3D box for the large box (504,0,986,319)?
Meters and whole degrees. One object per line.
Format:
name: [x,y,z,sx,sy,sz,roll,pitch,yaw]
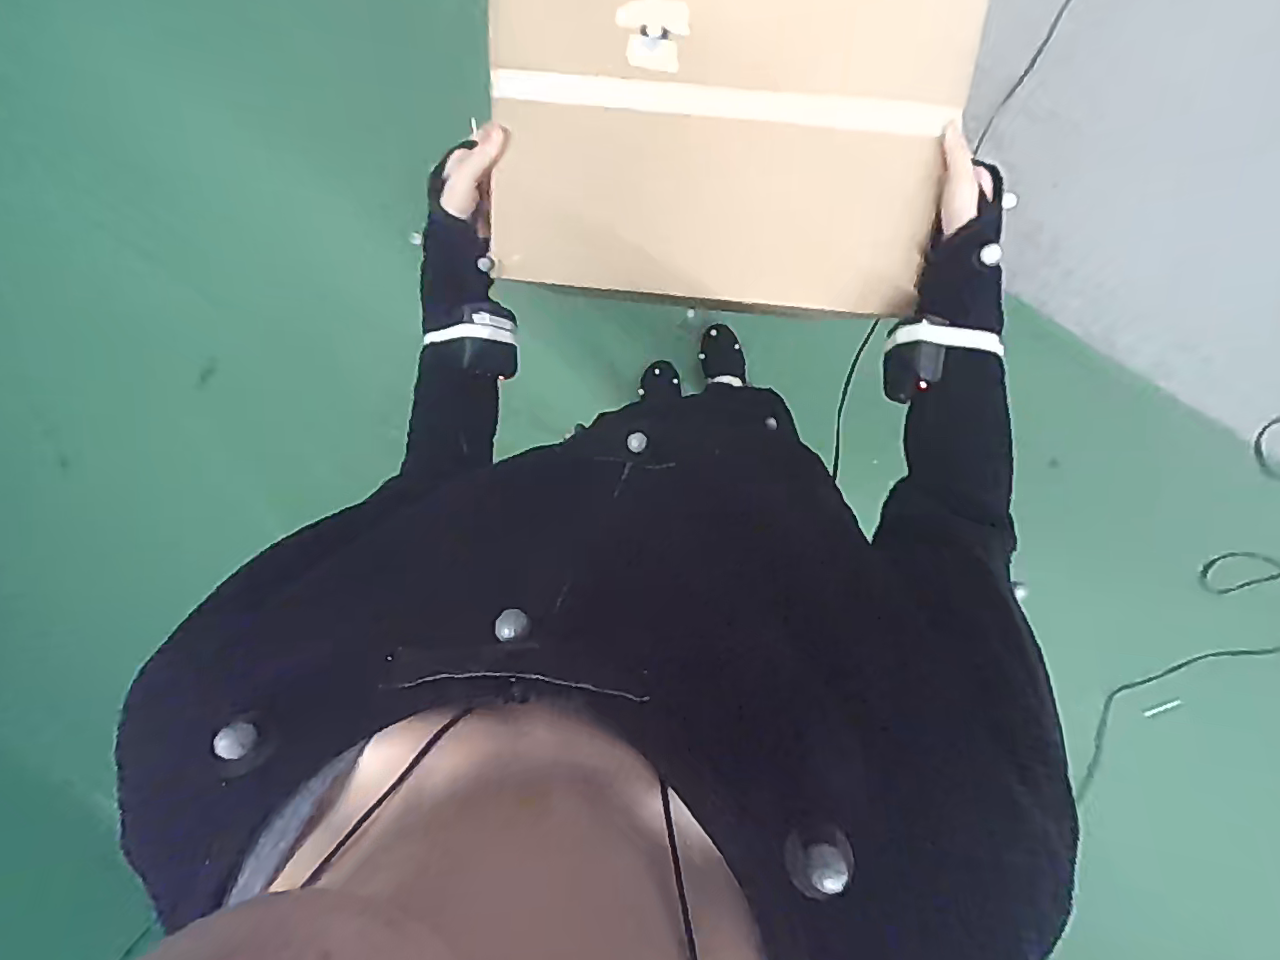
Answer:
large box: [0.088,-0.363,0.621,0.408,0.320,0.320,7,106,1]
